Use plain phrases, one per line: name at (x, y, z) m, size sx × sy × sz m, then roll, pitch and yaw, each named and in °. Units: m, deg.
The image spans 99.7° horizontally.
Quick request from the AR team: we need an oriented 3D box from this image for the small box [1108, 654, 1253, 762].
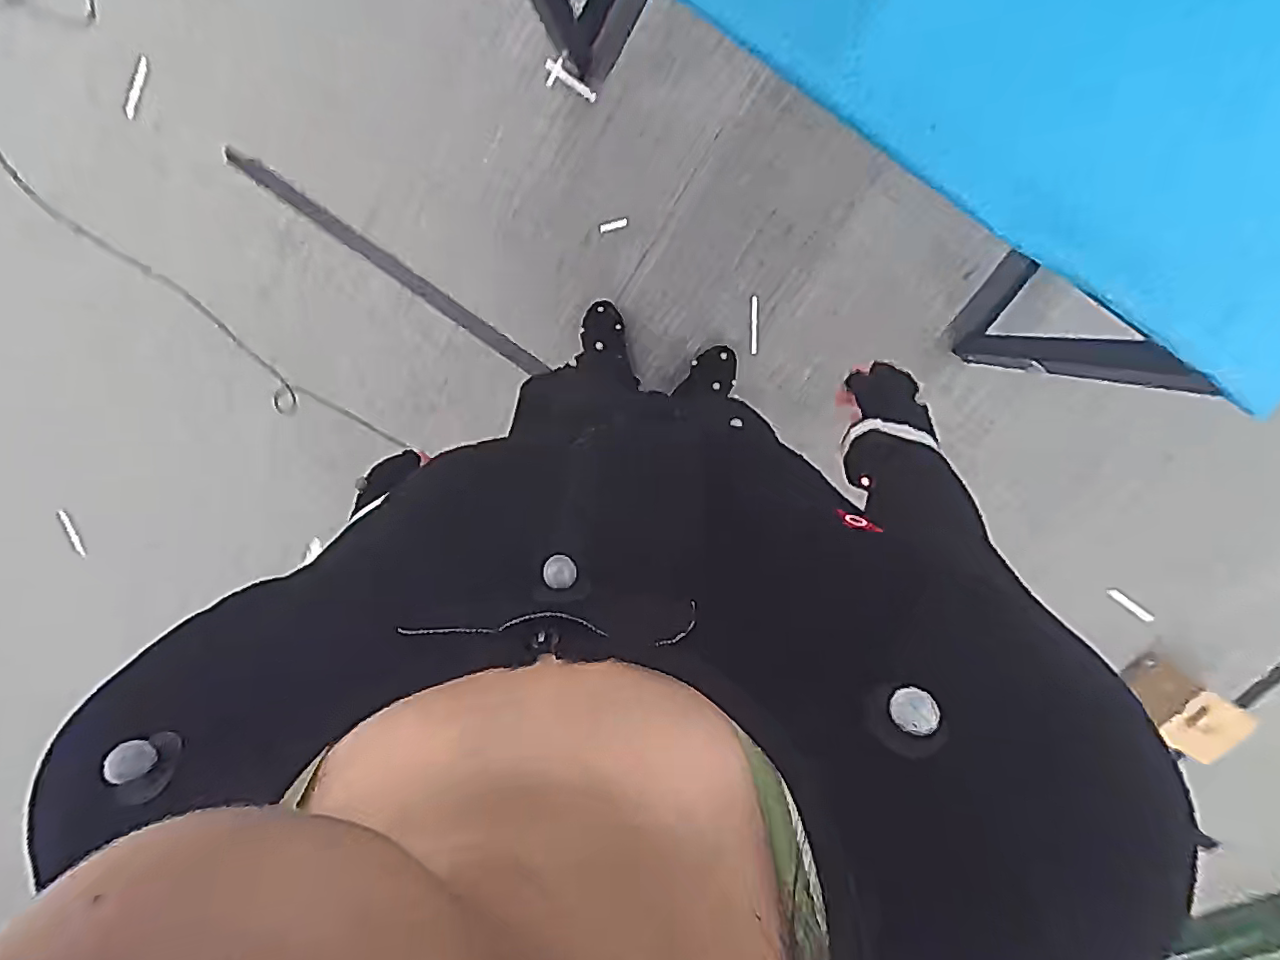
small box at (1.421, 0.595, 1.439) m, size 0.179 × 0.176 × 0.168 m, roll 33°, pitch 108°, yaw -5°
